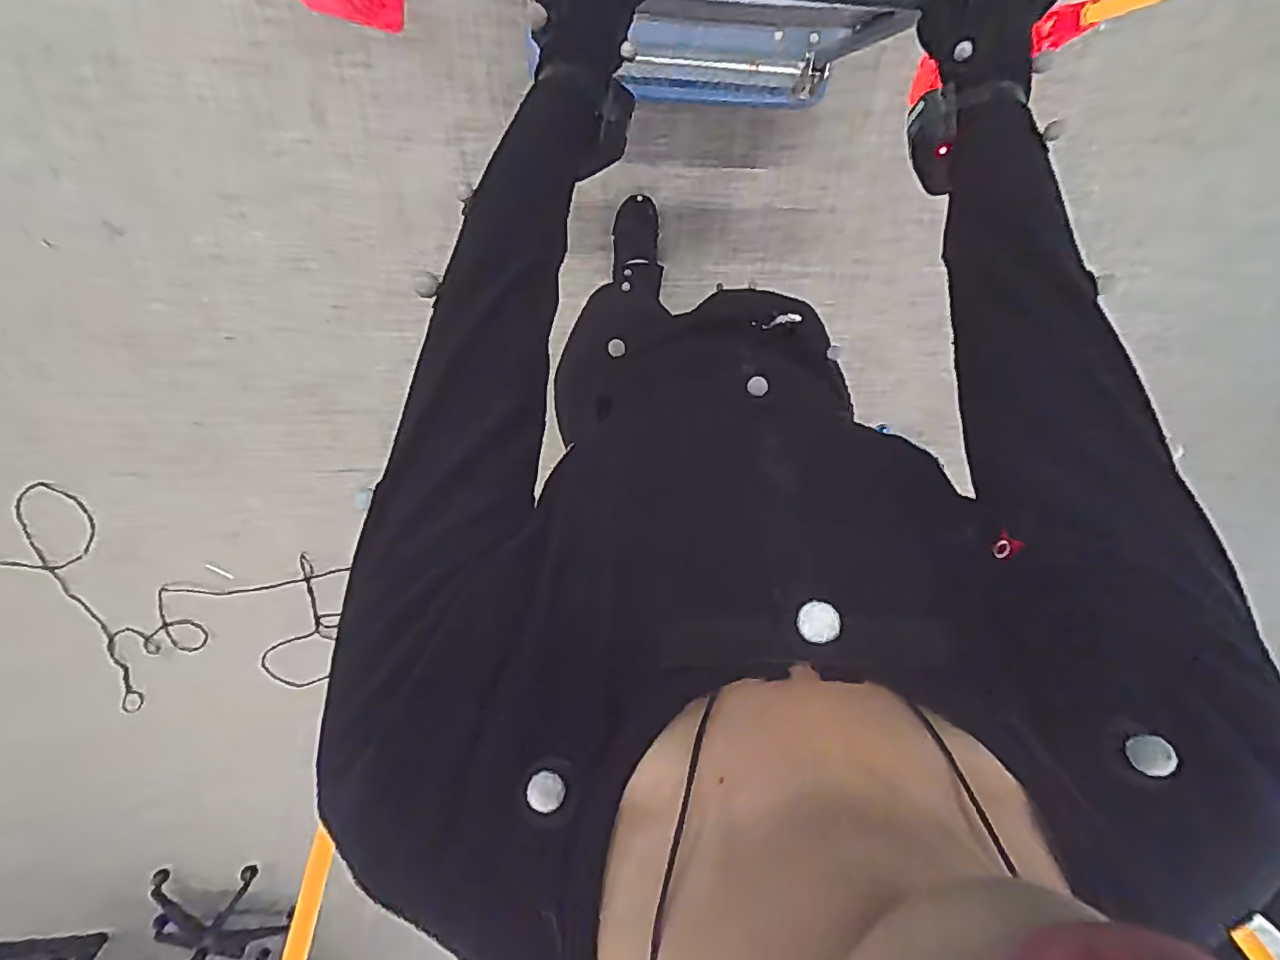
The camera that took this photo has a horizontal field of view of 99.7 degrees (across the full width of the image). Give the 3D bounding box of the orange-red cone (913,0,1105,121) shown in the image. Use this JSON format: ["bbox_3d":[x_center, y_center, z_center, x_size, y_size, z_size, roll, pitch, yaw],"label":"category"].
[{"bbox_3d":[0.724,-0.836,1.026,0.198,0.360,0.199,10,117,-7],"label":"orange-red cone"}]
